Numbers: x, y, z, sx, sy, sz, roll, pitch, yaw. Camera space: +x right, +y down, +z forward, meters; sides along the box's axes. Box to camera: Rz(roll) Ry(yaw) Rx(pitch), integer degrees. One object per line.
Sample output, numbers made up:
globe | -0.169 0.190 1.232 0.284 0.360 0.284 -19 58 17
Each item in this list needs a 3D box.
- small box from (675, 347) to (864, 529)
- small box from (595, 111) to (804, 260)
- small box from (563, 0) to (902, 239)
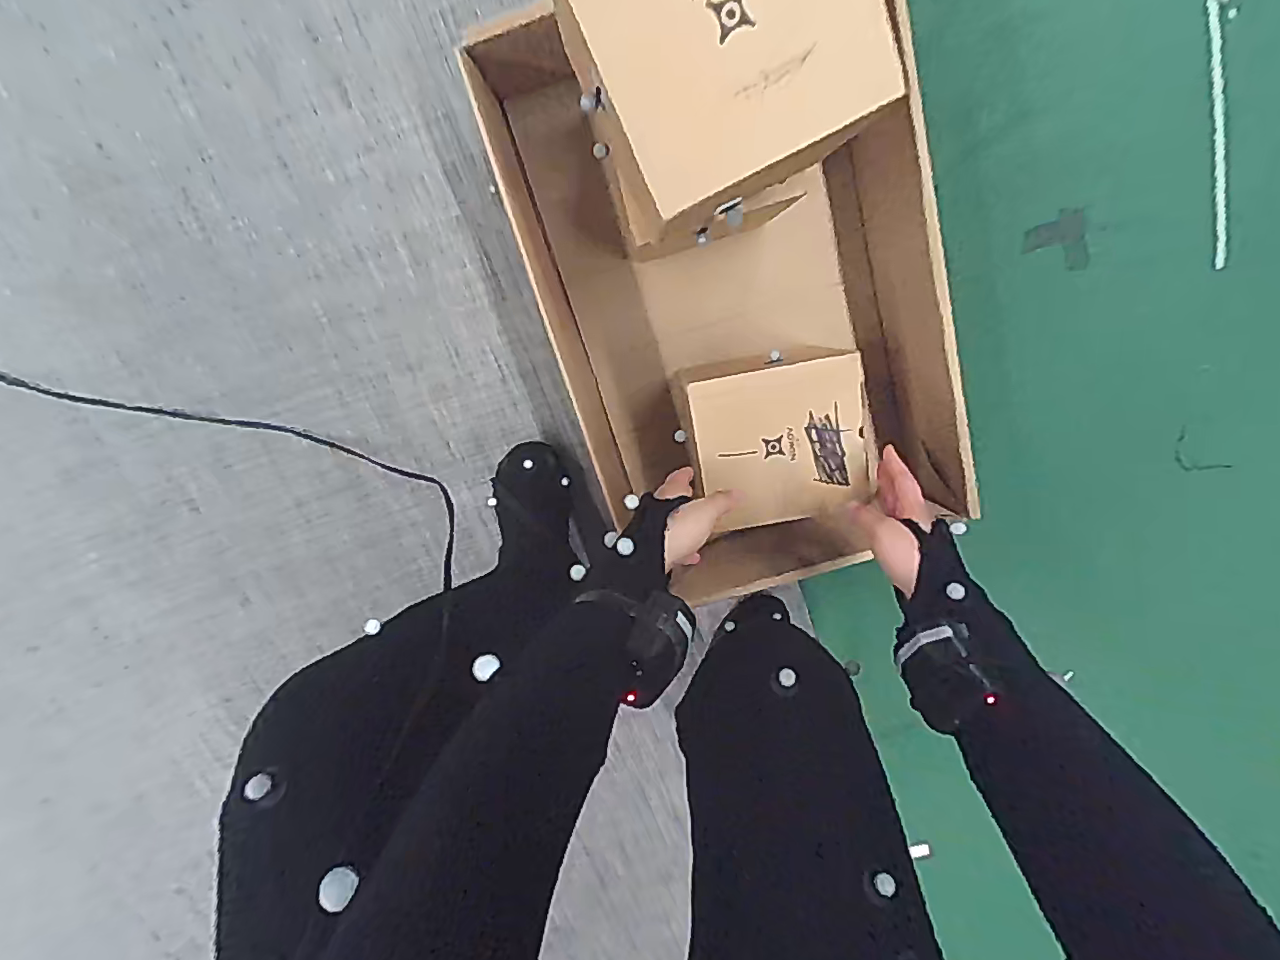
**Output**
small box | 0.142 -0.059 0.637 0.179 0.176 0.168 -9 105 3
small box | 0.049 -0.343 0.551 0.168 0.176 0.179 -15 106 4
small box | 0.051 -0.300 0.392 0.168 0.176 0.179 -24 108 8
